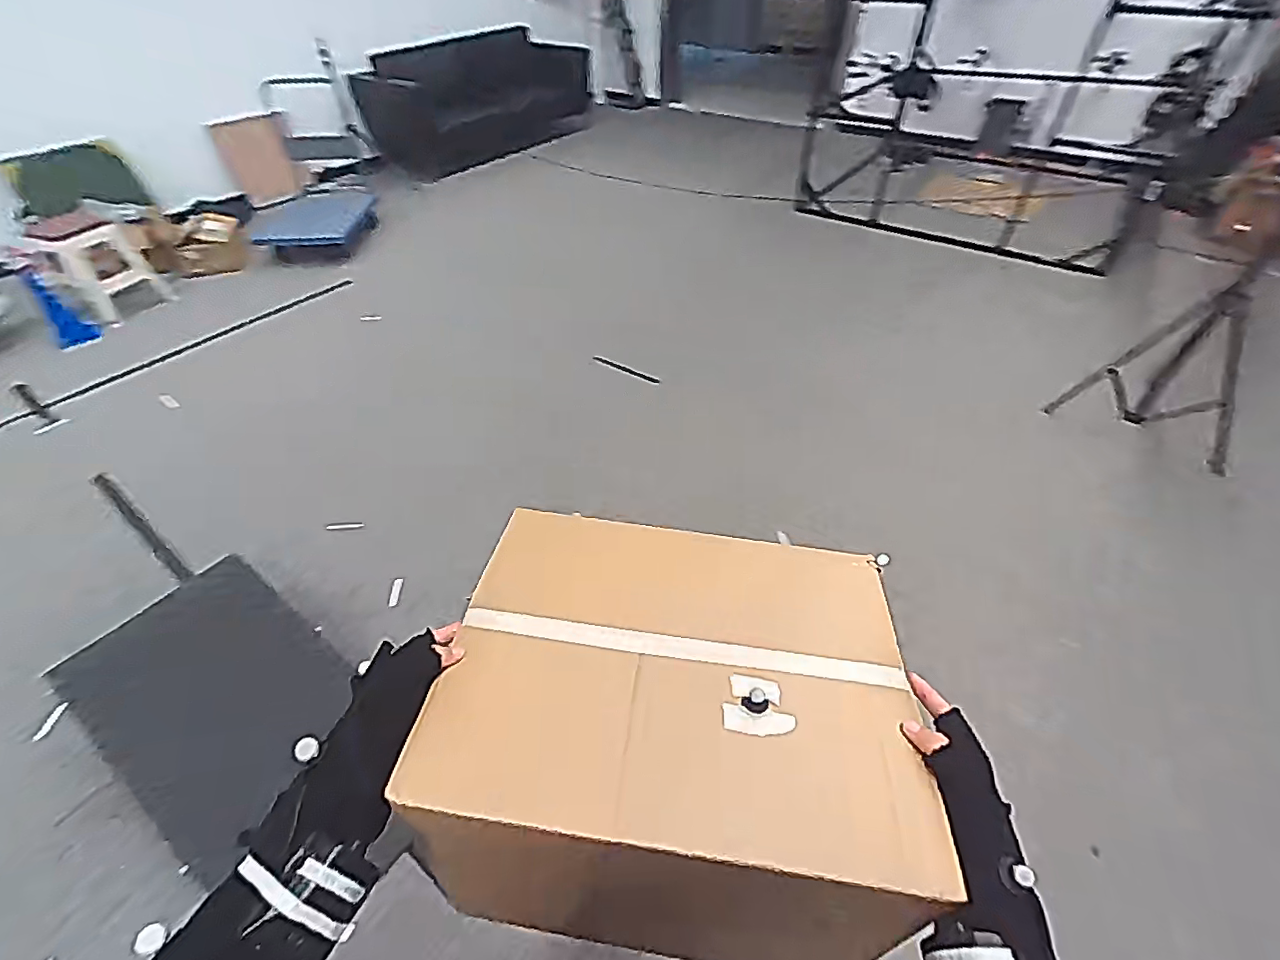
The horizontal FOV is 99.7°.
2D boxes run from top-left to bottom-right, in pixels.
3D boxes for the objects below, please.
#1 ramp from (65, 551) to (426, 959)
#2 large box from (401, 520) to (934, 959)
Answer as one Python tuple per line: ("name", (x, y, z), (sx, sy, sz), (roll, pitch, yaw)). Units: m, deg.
("ramp", (-0.970, 0.622, 1.406), (0.991, 0.206, 0.509), (26, 50, 24))
("large box", (0.022, 0.277, 0.601), (0.408, 0.320, 0.320), (7, 39, 4))
